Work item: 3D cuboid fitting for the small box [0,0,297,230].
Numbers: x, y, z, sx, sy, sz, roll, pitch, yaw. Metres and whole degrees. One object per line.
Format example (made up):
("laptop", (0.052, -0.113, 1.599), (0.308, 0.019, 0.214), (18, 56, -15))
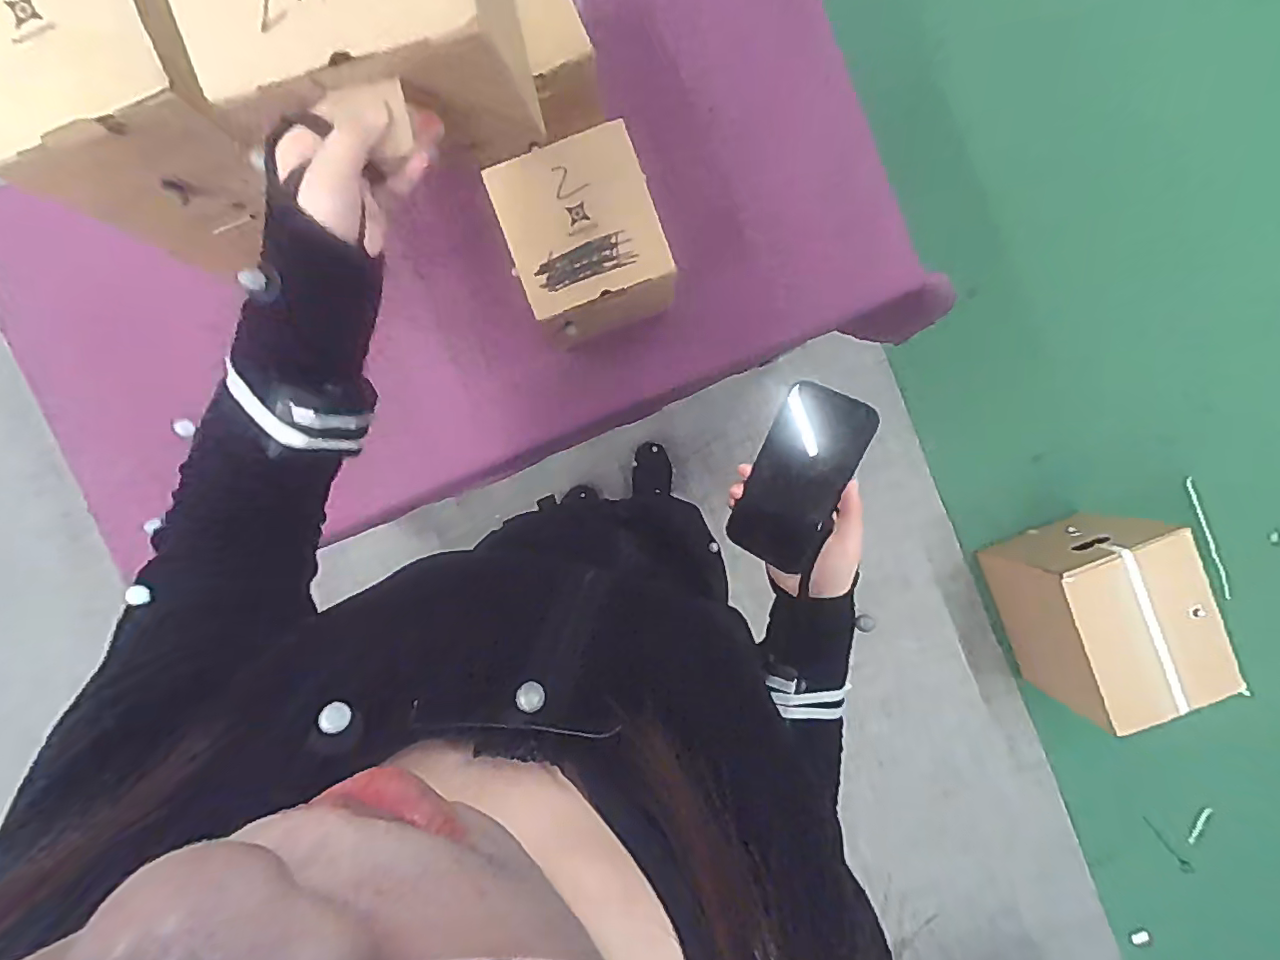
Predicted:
("small box", (-0.465, -0.357, 0.497), (0.168, 0.176, 0.179), (-23, 95, 0))

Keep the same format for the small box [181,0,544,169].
("small box", (-0.176, -0.339, 0.356), (0.168, 0.176, 0.179), (-11, 104, 6))

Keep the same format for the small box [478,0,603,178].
("small box", (-0.155, -0.512, 0.652), (0.168, 0.176, 0.179), (-25, 95, 1))

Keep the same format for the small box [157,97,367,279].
("small box", (-0.473, -0.367, 0.661), (0.168, 0.176, 0.179), (-22, 94, 0))
